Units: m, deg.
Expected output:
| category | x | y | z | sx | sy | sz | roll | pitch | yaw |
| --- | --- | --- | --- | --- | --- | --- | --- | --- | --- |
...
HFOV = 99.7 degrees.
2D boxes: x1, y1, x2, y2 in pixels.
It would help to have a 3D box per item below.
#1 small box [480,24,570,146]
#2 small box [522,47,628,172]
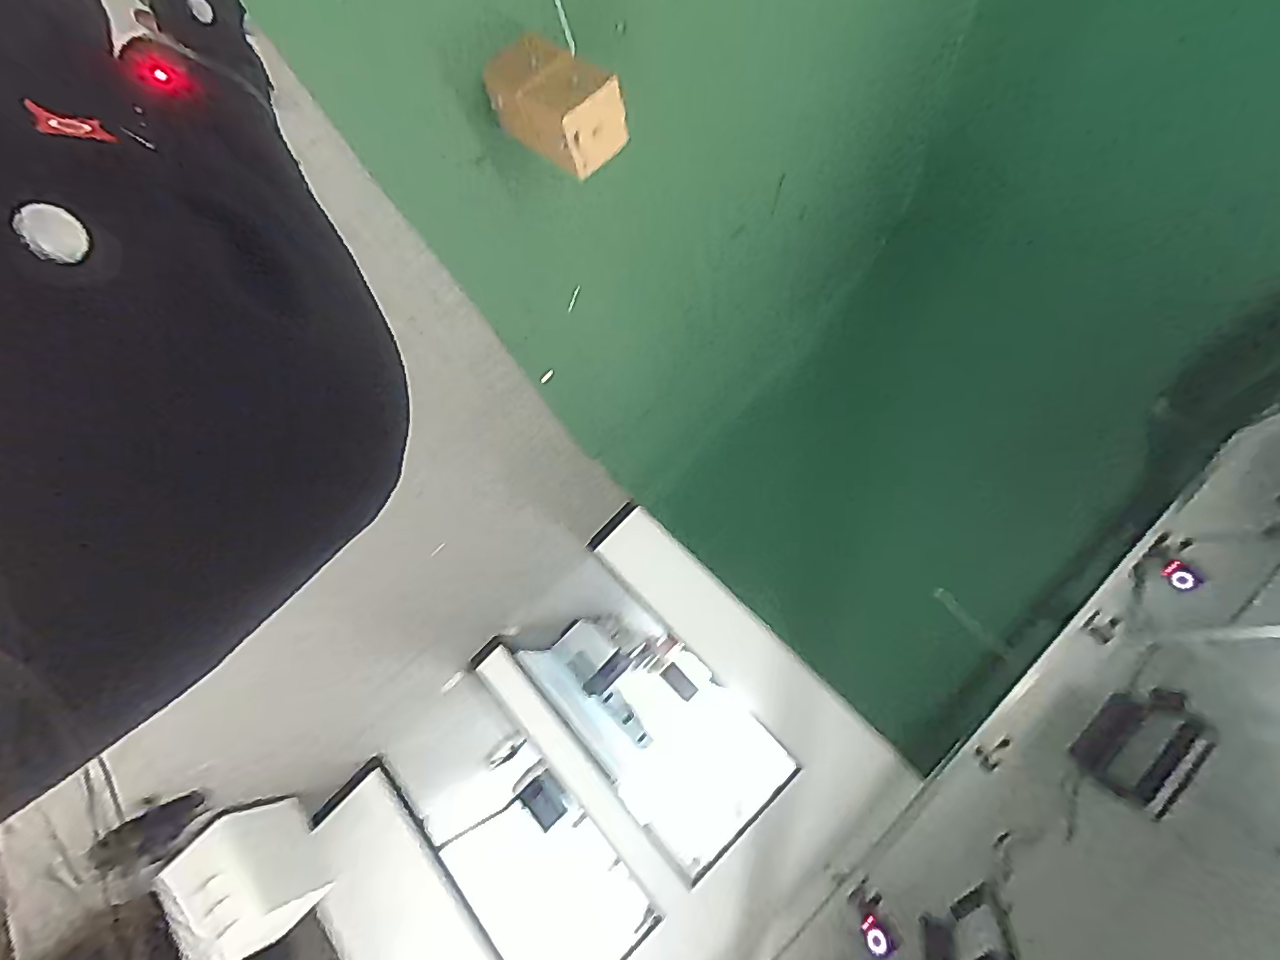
| category | x | y | z | sx | sy | sz | roll | pitch | yaw |
| --- | --- | --- | --- | --- | --- | --- | --- | --- | --- |
| small box | -0.275 | -1.024 | 1.399 | 0.179 | 0.176 | 0.168 | -43 | 158 | -6 |
| small box | -0.160 | -0.922 | 1.343 | 0.179 | 0.176 | 0.168 | -45 | 158 | -8 |
